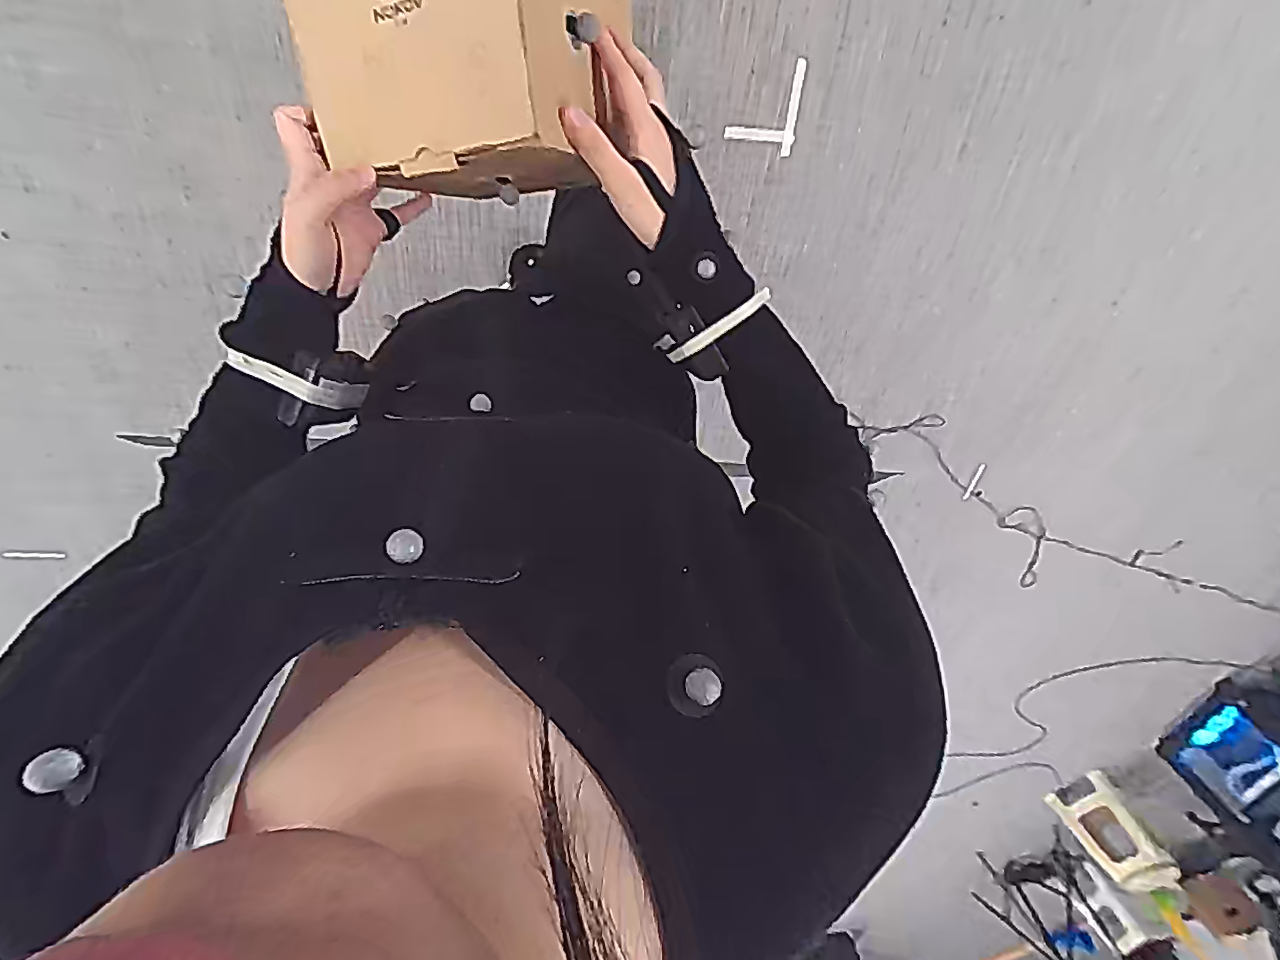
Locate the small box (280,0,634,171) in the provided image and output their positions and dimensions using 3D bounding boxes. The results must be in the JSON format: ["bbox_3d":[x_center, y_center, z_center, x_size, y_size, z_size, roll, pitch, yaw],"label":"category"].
[{"bbox_3d":[-0.111,-0.317,0.362,0.168,0.176,0.179,3,114,20],"label":"small box"}]
